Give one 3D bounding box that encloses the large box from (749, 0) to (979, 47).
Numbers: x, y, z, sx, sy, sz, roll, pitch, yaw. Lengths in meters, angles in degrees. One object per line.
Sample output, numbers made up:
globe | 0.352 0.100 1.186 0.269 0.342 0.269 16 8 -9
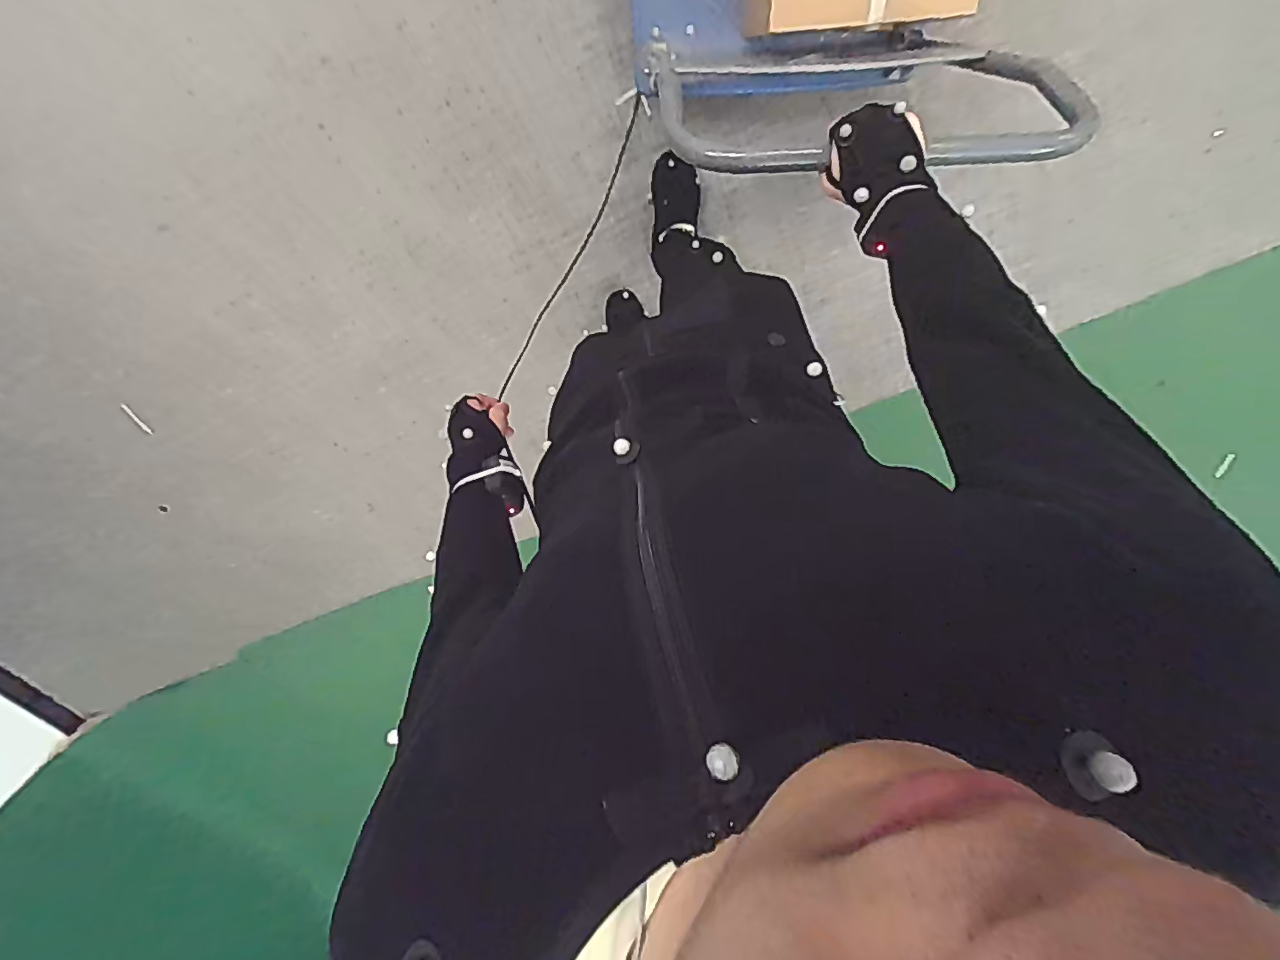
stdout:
large box | 0.346 -0.935 0.828 0.320 0.320 0.408 -2 128 2
